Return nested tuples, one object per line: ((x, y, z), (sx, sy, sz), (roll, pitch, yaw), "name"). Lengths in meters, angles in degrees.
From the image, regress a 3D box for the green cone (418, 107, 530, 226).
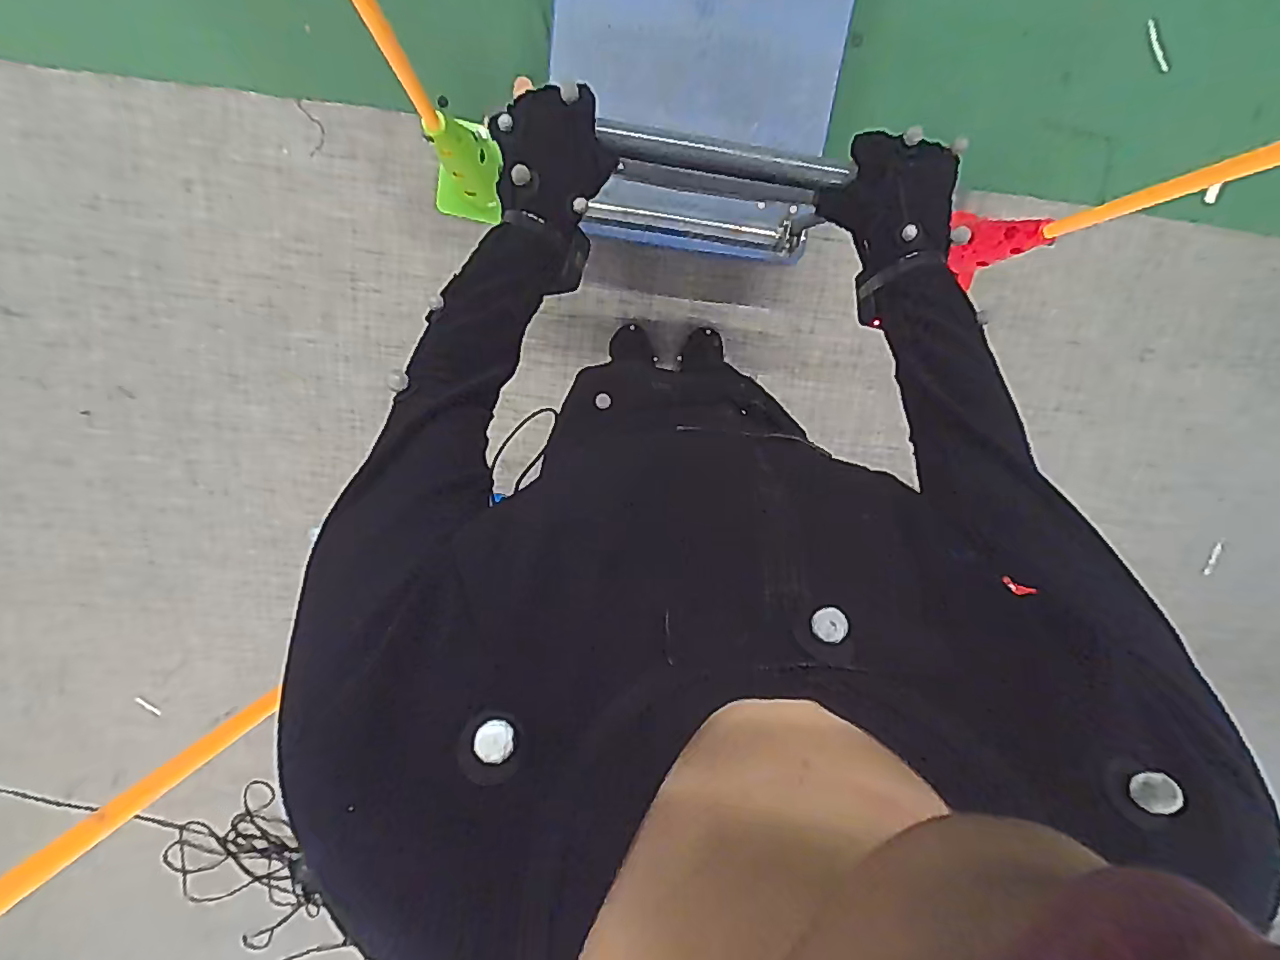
((-0.362, -0.673, 1.103), (0.202, 0.368, 0.200), (11, 105, -4), "green cone")
